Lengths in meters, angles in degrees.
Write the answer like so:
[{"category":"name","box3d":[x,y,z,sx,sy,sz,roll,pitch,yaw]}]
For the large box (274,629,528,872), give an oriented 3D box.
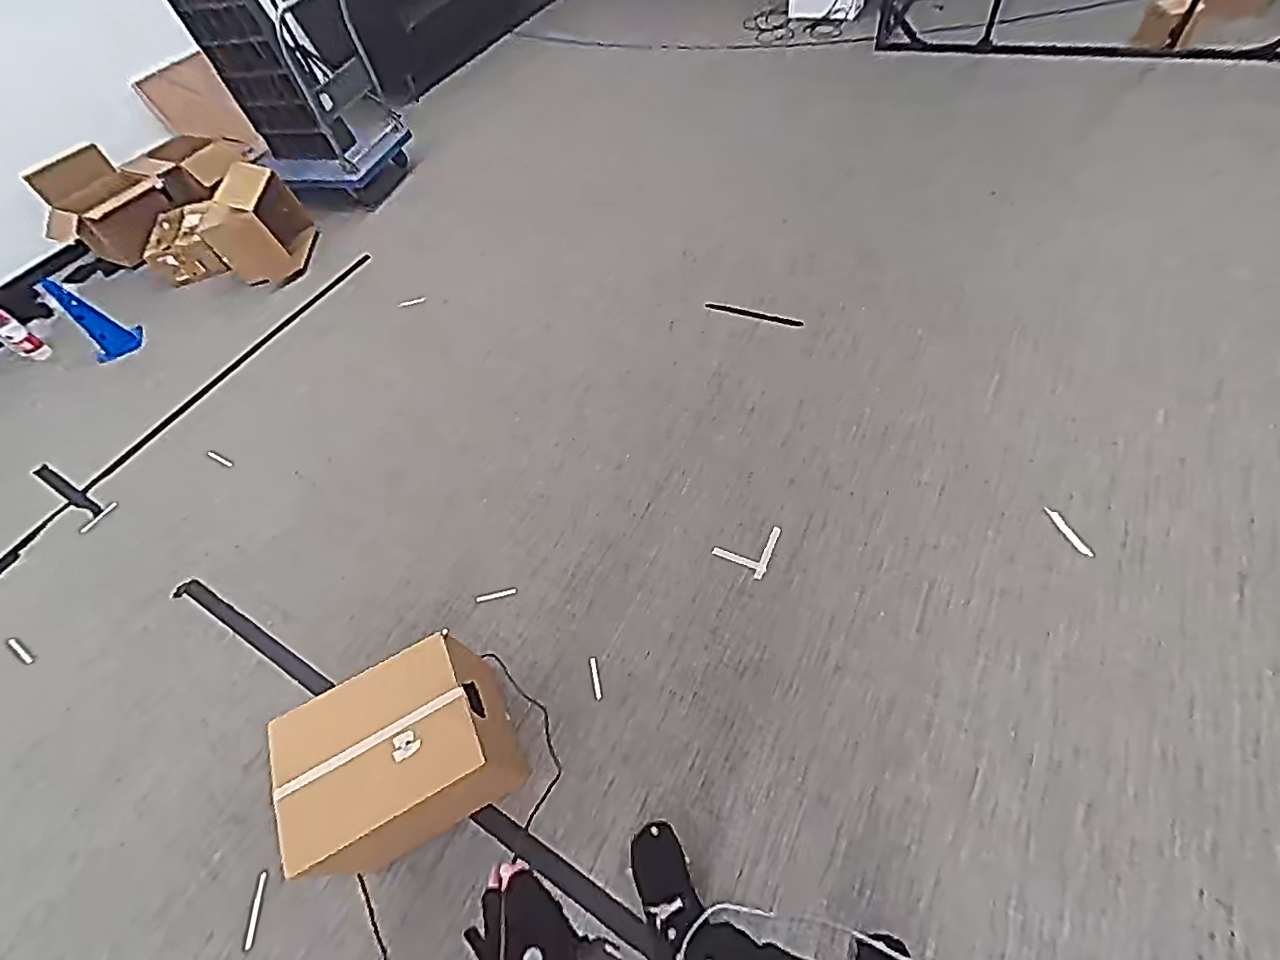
[{"category":"large box","box3d":[-0.529,0.619,1.238,0.408,0.320,0.320,-27,57,-11]}]
